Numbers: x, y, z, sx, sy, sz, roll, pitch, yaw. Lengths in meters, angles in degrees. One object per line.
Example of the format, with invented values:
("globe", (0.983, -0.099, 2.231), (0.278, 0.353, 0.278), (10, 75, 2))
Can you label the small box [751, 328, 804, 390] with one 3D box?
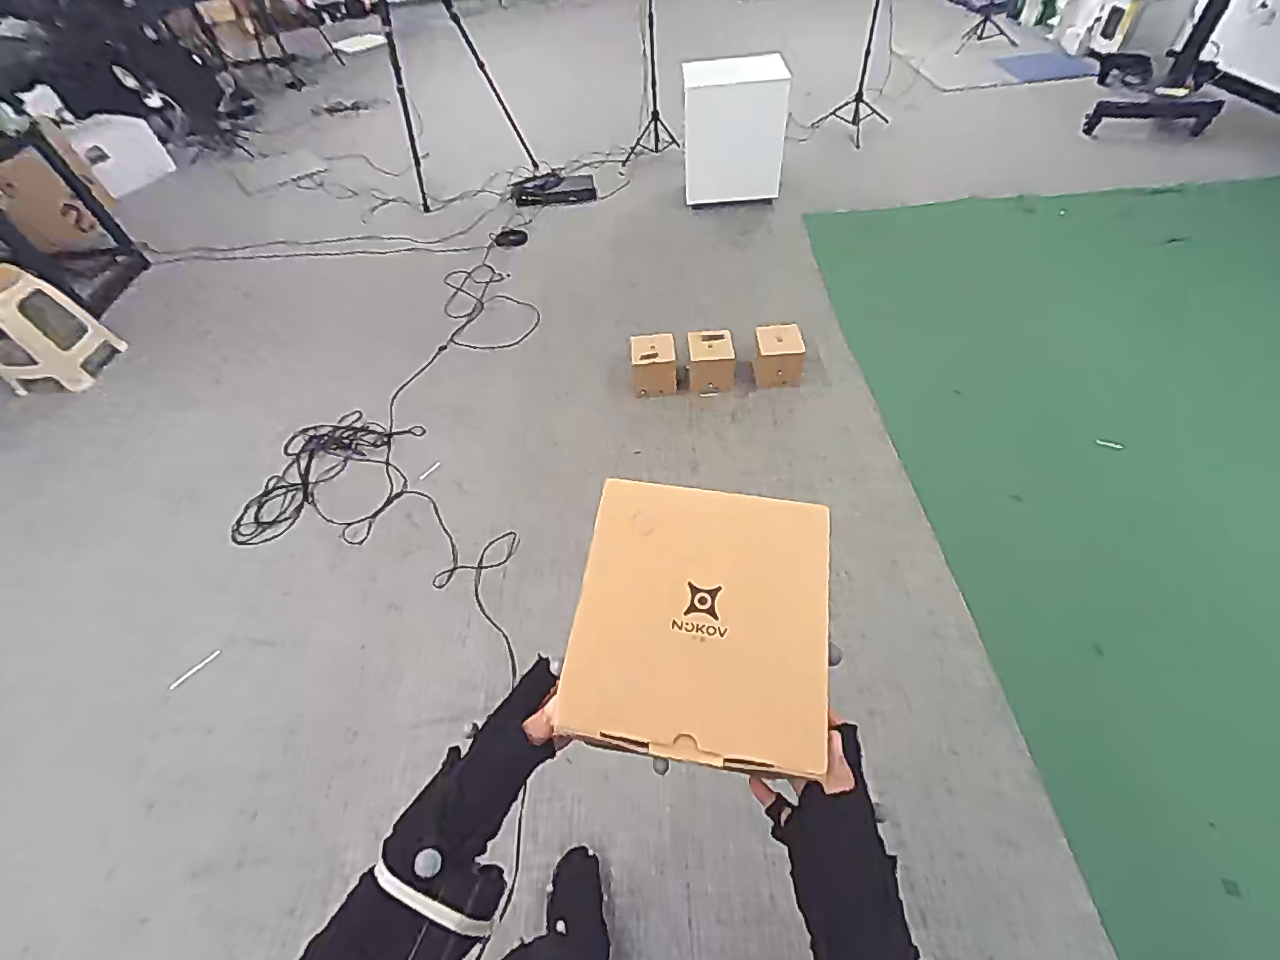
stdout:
("small box", (0.533, -0.467, 2.113), (0.168, 0.176, 0.179), (-3, 51, 2))

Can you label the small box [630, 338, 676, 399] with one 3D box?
("small box", (0.053, -0.435, 2.134), (0.168, 0.176, 0.179), (-5, 50, 3))
